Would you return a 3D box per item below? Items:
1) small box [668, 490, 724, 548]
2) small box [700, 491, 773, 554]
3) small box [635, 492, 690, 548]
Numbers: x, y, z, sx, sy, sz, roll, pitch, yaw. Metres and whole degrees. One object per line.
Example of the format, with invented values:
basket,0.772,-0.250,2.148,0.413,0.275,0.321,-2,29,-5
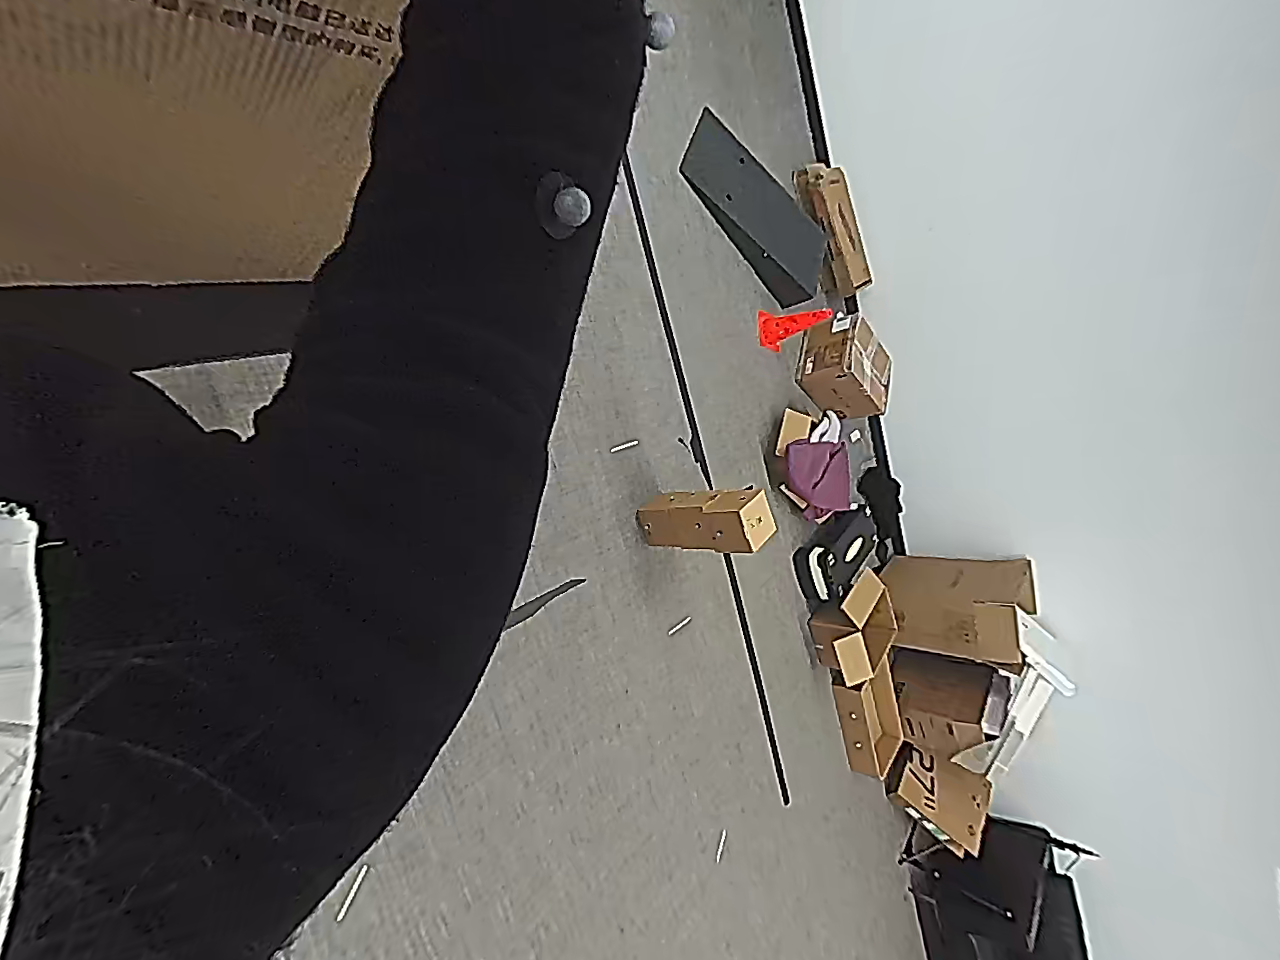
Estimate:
small box,0.229,0.150,2.054,0.168,0.176,0.179,-29,107,-42
small box,0.344,0.148,1.936,0.179,0.176,0.168,-34,109,-41
small box,0.110,0.157,2.168,0.179,0.176,0.168,-32,107,-41
